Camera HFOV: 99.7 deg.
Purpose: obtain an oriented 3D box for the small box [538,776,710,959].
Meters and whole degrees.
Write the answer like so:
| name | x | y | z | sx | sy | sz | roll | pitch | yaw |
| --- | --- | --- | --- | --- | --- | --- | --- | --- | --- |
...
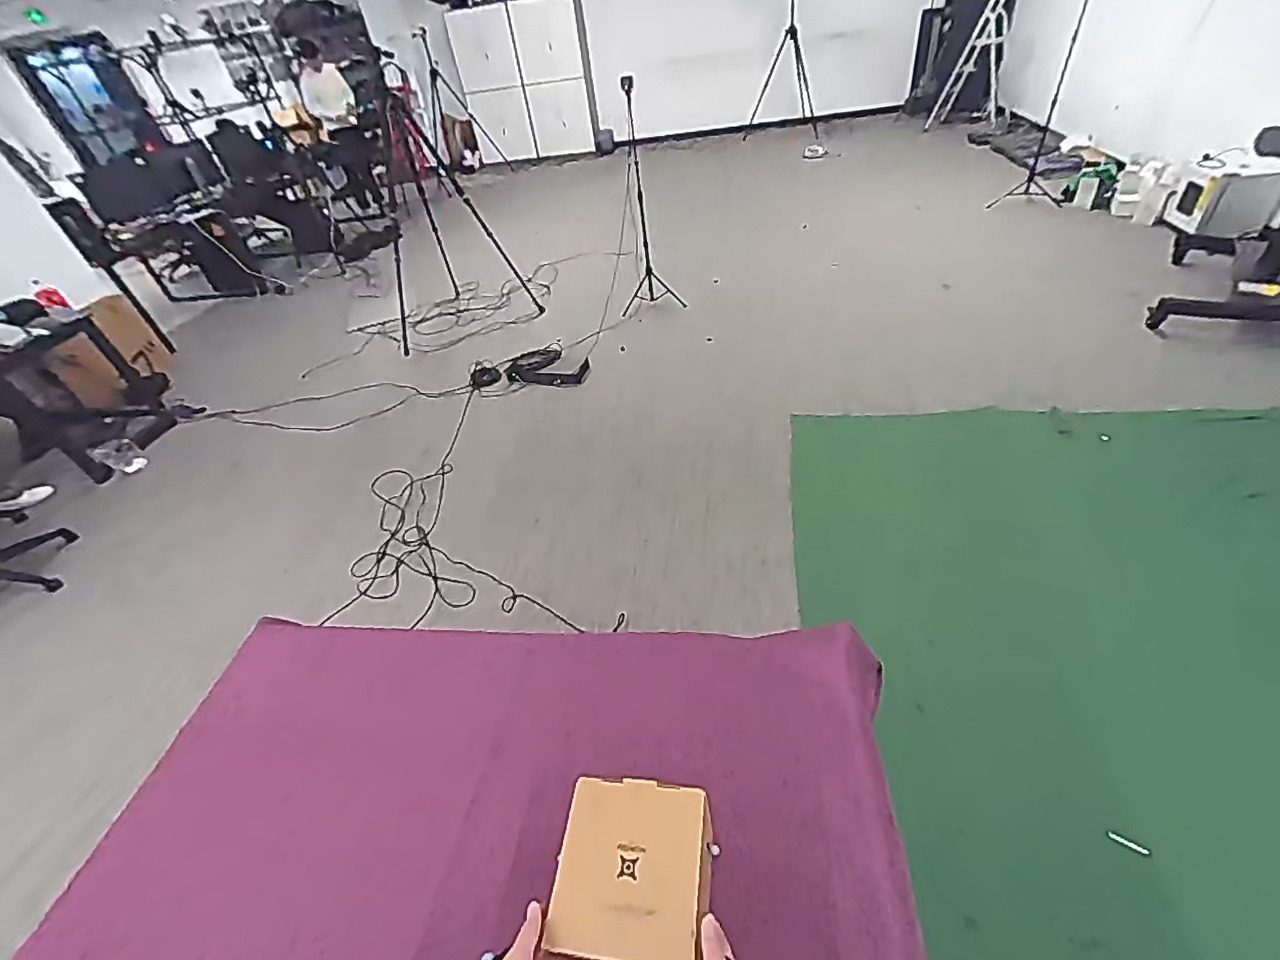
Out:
| name | x | y | z | sx | sy | sz | roll | pitch | yaw |
| --- | --- | --- | --- | --- | --- | --- | --- | --- | --- |
| small box | -0.005 | 0.497 | 0.663 | 0.168 | 0.176 | 0.179 | -1 | 41 | 13 |
